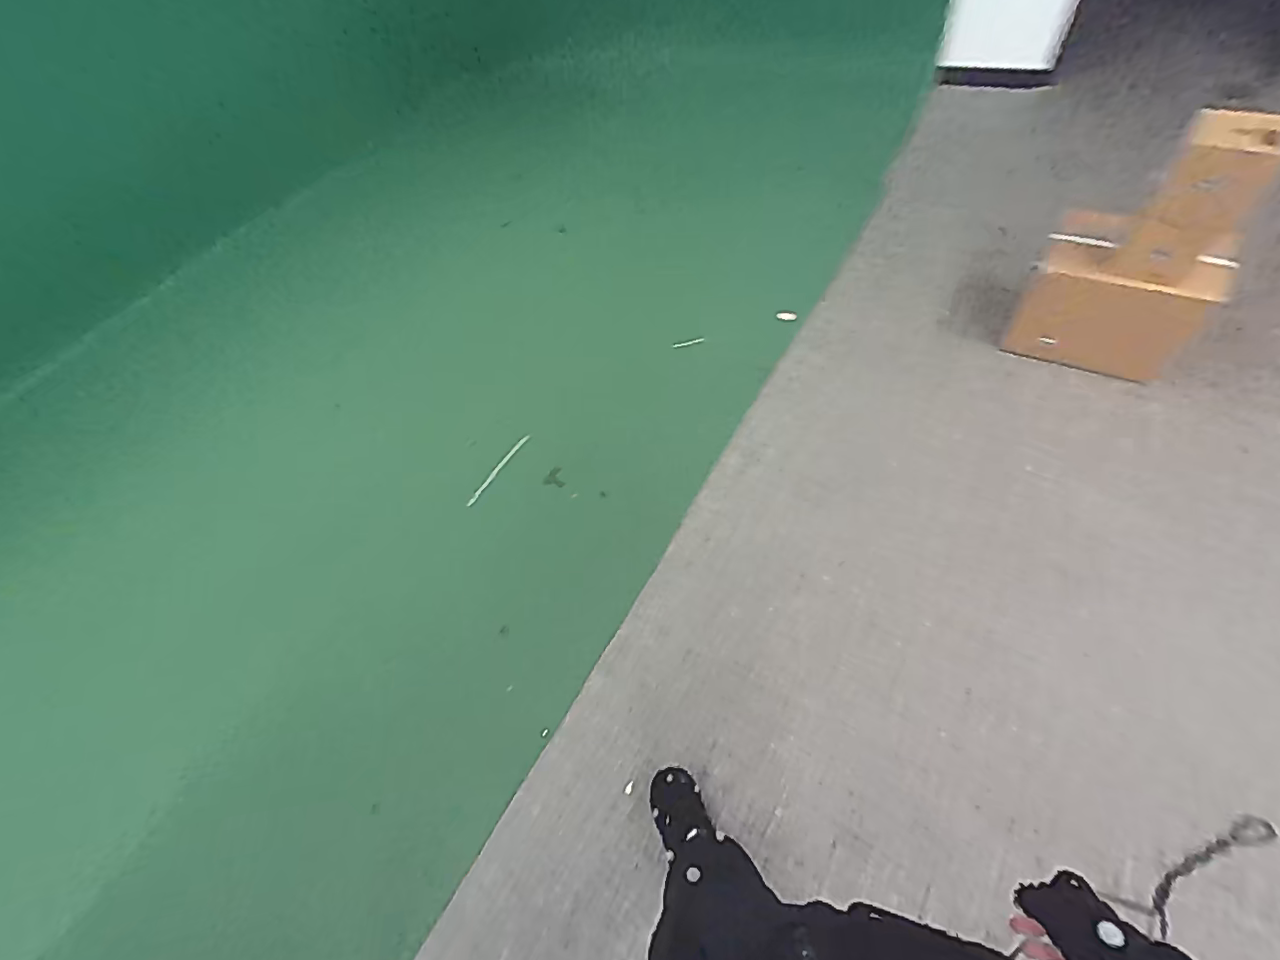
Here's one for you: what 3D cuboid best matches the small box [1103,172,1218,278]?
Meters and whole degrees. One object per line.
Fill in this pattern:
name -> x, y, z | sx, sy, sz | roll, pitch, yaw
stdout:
small box -> 1.334, -0.648, 1.382 | 0.168, 0.176, 0.179 | 26, 67, 24

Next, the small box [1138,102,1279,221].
small box -> 1.309, -0.723, 1.237 | 0.179, 0.176, 0.168 | 29, 68, 26
